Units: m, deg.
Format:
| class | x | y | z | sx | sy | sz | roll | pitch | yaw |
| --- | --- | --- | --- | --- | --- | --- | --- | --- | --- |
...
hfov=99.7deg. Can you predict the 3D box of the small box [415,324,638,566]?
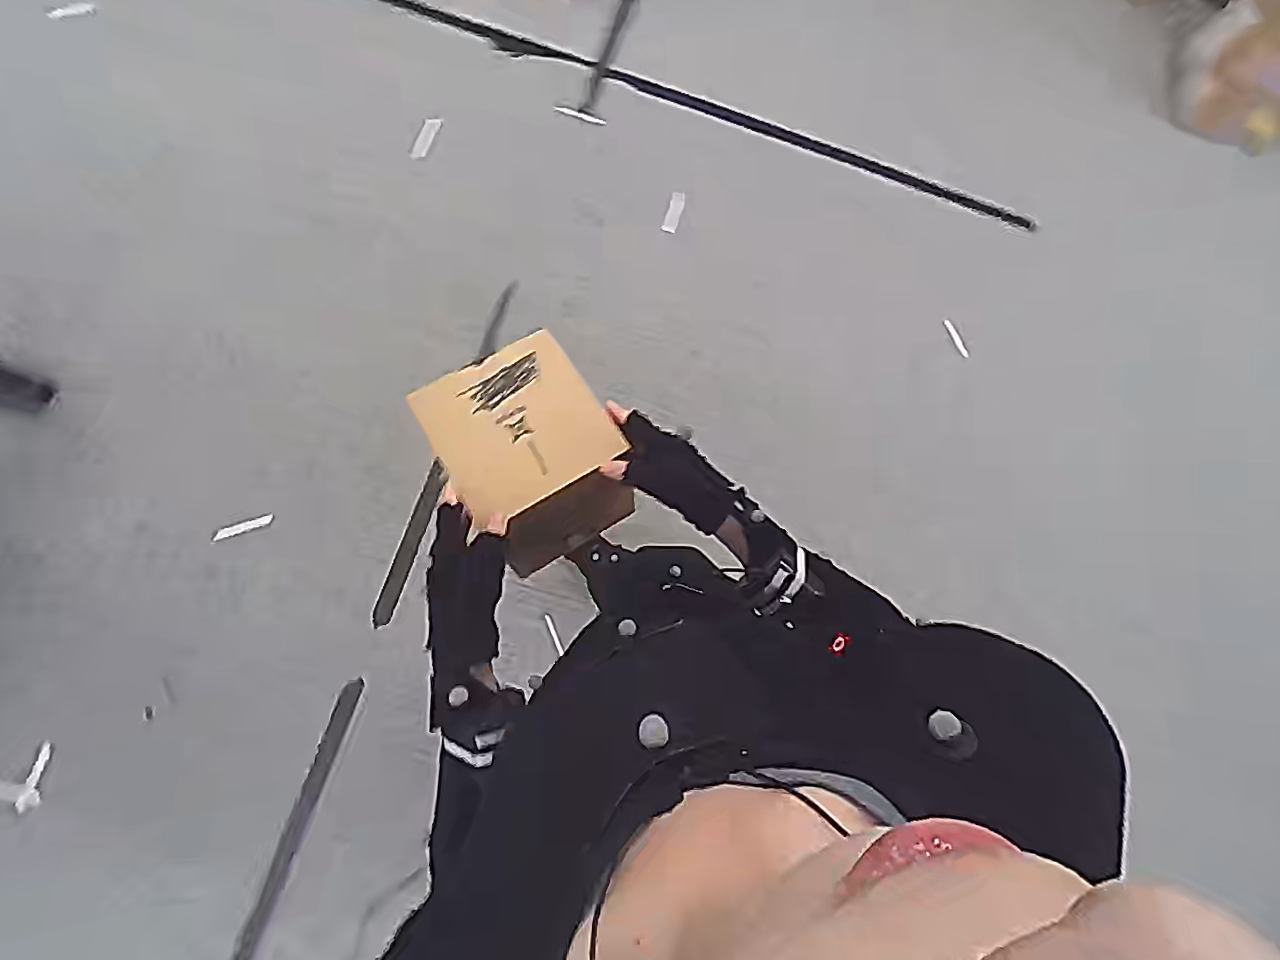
| class | x | y | z | sx | sy | sz | roll | pitch | yaw |
| --- | --- | --- | --- | --- | --- | --- | --- | --- | --- |
| small box | -0.115 | -0.031 | 0.603 | 0.168 | 0.176 | 0.179 | -31 | 69 | -12 |
